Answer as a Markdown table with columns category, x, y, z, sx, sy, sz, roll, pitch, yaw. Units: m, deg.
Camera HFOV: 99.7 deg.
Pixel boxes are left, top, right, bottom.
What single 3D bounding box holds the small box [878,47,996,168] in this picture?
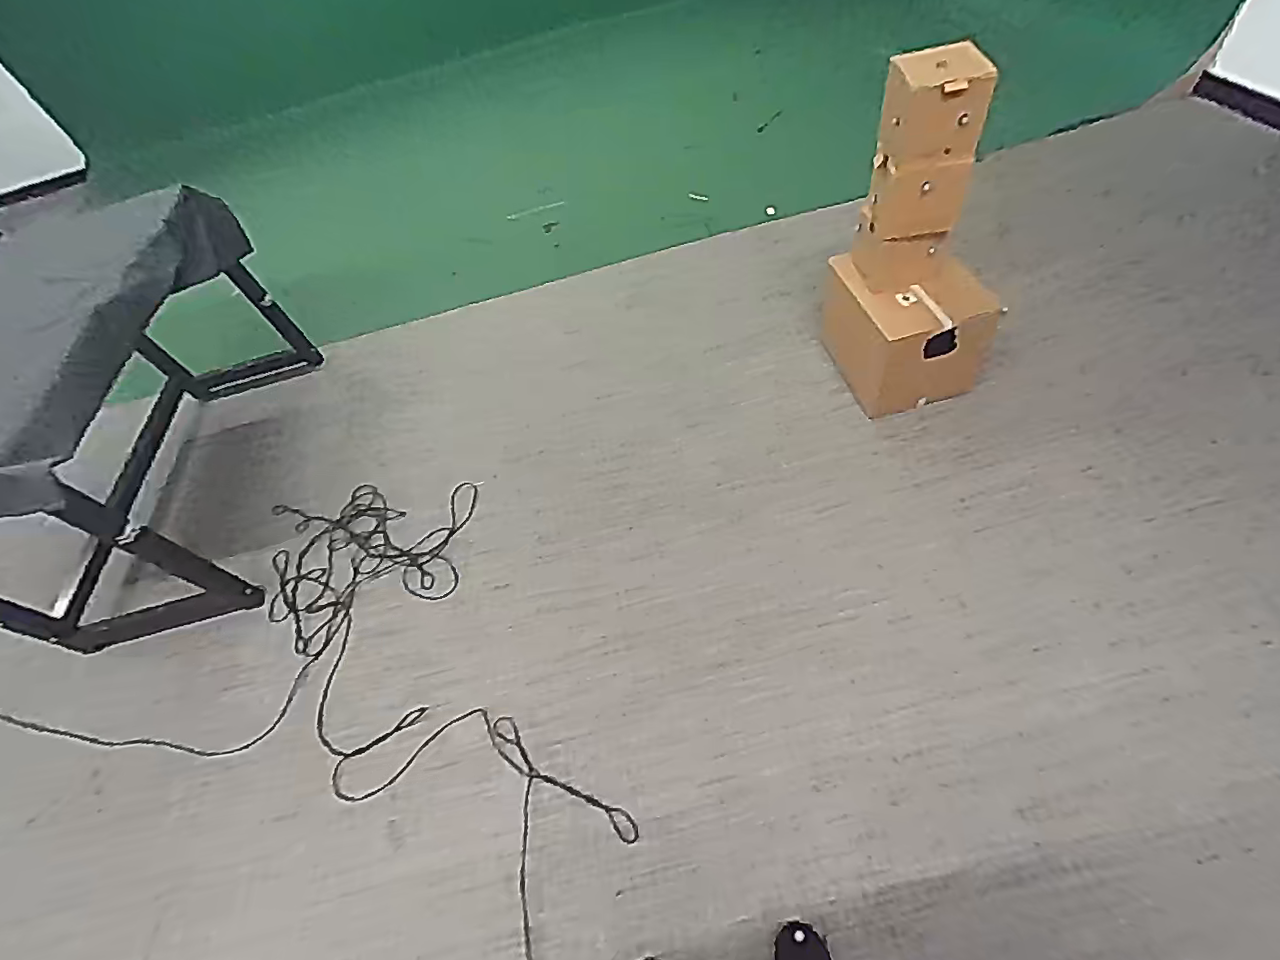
| category | x | y | z | sx | sy | sz | roll | pitch | yaw |
| --- | --- | --- | --- | --- | --- | --- | --- | --- | --- |
| small box | 0.647 | -0.817 | 1.202 | 0.168 | 0.176 | 0.179 | -6 | 54 | 7 |

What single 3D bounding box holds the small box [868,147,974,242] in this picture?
| category | x | y | z | sx | sy | sz | roll | pitch | yaw |
| --- | --- | --- | --- | --- | --- | --- | --- | --- | --- |
| small box | 0.678 | -0.713 | 1.324 | 0.179 | 0.176 | 0.168 | -4 | 55 | 10 |

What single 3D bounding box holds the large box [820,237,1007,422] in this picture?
| category | x | y | z | sx | sy | sz | roll | pitch | yaw |
| --- | --- | --- | --- | --- | --- | --- | --- | --- | --- |
| large box | 0.778 | -0.449 | 1.621 | 0.320 | 0.320 | 0.408 | -16 | 55 | 2 |
